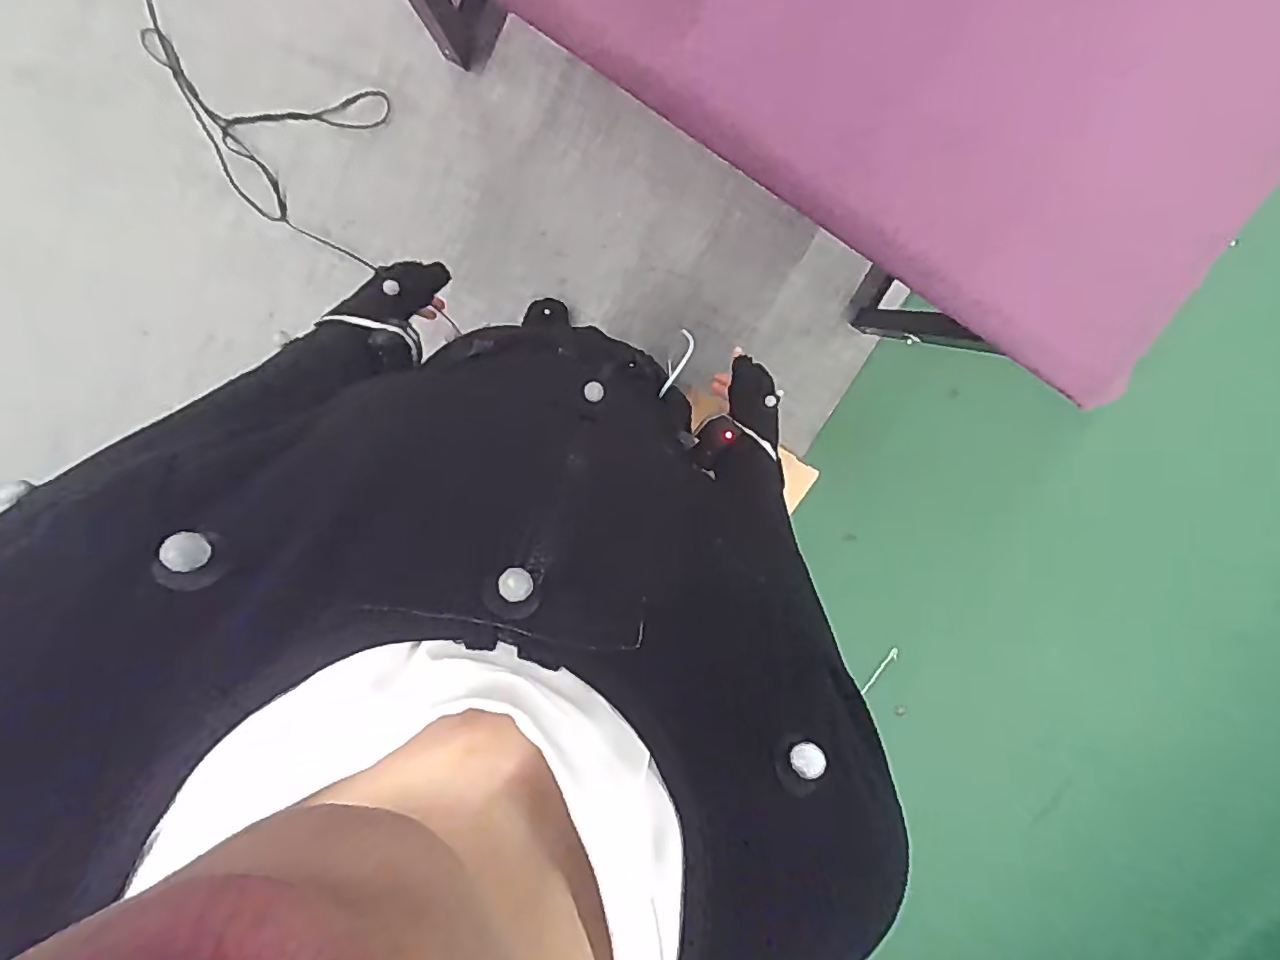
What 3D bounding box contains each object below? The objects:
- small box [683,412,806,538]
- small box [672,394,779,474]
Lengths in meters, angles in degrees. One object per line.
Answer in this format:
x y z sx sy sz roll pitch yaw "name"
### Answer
0.204 -0.016 1.120 0.168 0.176 0.179 29 103 -15 "small box"
0.190 -0.078 1.269 0.168 0.176 0.179 30 103 -15 "small box"
